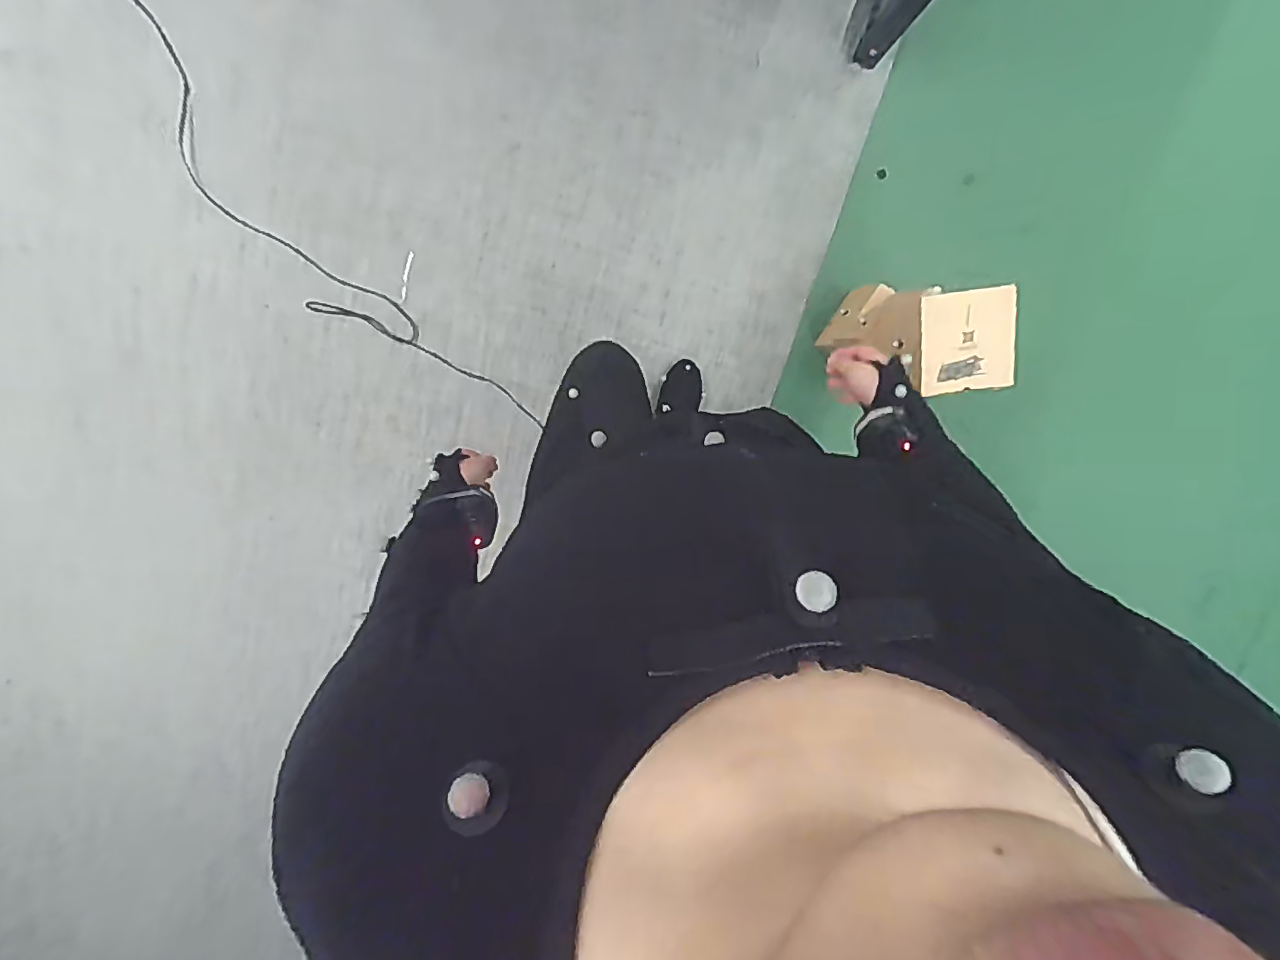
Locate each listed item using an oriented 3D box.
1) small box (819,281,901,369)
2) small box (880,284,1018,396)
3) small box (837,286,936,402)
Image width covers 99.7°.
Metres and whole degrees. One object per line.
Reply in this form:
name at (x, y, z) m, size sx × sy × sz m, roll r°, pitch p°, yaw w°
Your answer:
small box at (0.572, -0.360, 1.323) m, size 0.179 × 0.176 × 0.168 m, roll 32°, pitch 102°, yaw -9°
small box at (0.565, -0.260, 1.012) m, size 0.168 × 0.176 × 0.179 m, roll -7°, pitch 103°, yaw 2°
small box at (0.560, -0.292, 1.173) m, size 0.168 × 0.176 × 0.179 m, roll -36°, pitch 103°, yaw 9°
